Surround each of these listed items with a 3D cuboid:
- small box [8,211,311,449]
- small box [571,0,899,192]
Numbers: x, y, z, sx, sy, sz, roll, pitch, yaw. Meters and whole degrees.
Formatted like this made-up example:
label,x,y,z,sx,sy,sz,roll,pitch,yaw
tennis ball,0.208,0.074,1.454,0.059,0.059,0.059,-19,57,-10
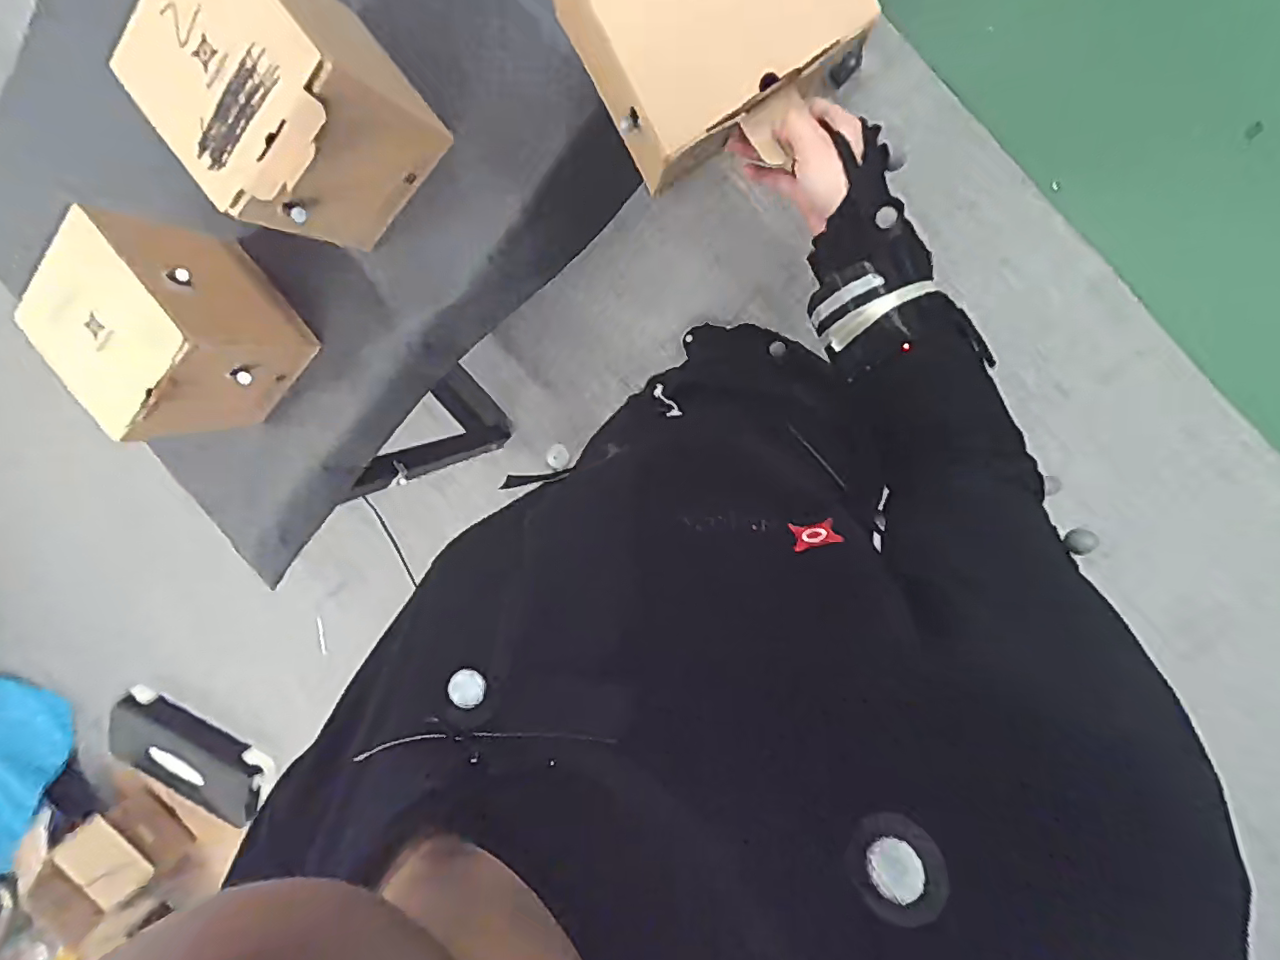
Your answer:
label,x,y,z,sx,sy,sz,roll,pitch,yaw
small box,-0.527,-0.162,0.616,0.168,0.176,0.179,-39,89,18
small box,0.052,-0.352,0.407,0.168,0.176,0.179,-29,109,7
